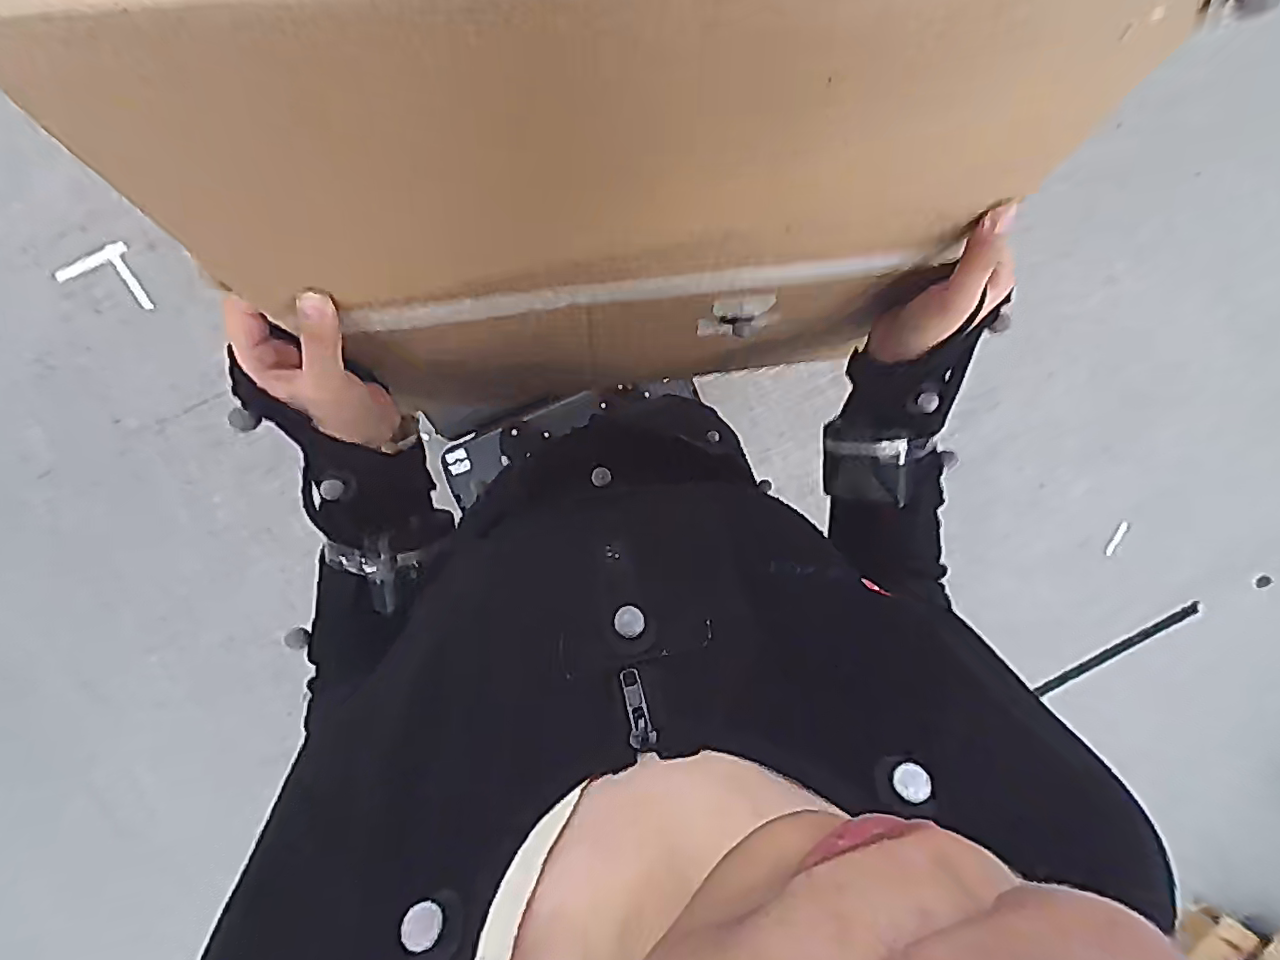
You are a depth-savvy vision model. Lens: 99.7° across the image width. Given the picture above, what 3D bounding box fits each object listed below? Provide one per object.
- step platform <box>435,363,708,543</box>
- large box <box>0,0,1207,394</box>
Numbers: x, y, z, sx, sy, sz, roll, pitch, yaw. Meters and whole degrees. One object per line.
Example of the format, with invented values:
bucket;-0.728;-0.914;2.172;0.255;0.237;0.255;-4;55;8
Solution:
step platform;-0.169;-0.077;1.418;0.684;0.204;0.286;-19;102;-4
large box;-0.012;-0.275;0.314;0.408;0.320;0.320;-10;79;-5
